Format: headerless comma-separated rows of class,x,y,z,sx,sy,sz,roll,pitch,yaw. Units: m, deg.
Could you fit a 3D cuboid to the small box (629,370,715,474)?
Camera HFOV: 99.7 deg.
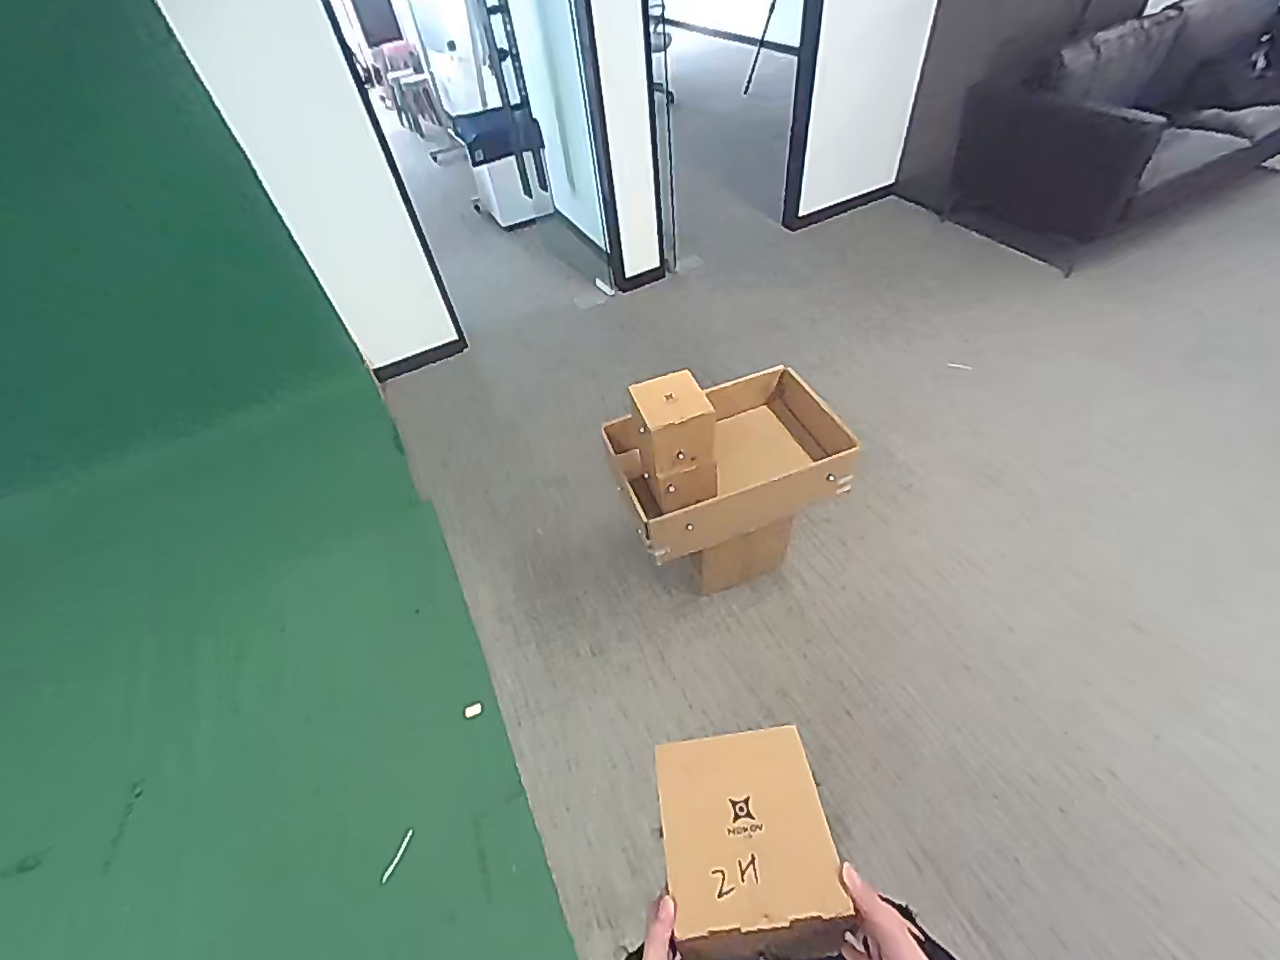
small box,0.078,-0.144,1.365,0.168,0.176,0.179,-17,51,-9

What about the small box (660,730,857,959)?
small box,0.116,0.410,0.598,0.168,0.176,0.179,-9,39,1
